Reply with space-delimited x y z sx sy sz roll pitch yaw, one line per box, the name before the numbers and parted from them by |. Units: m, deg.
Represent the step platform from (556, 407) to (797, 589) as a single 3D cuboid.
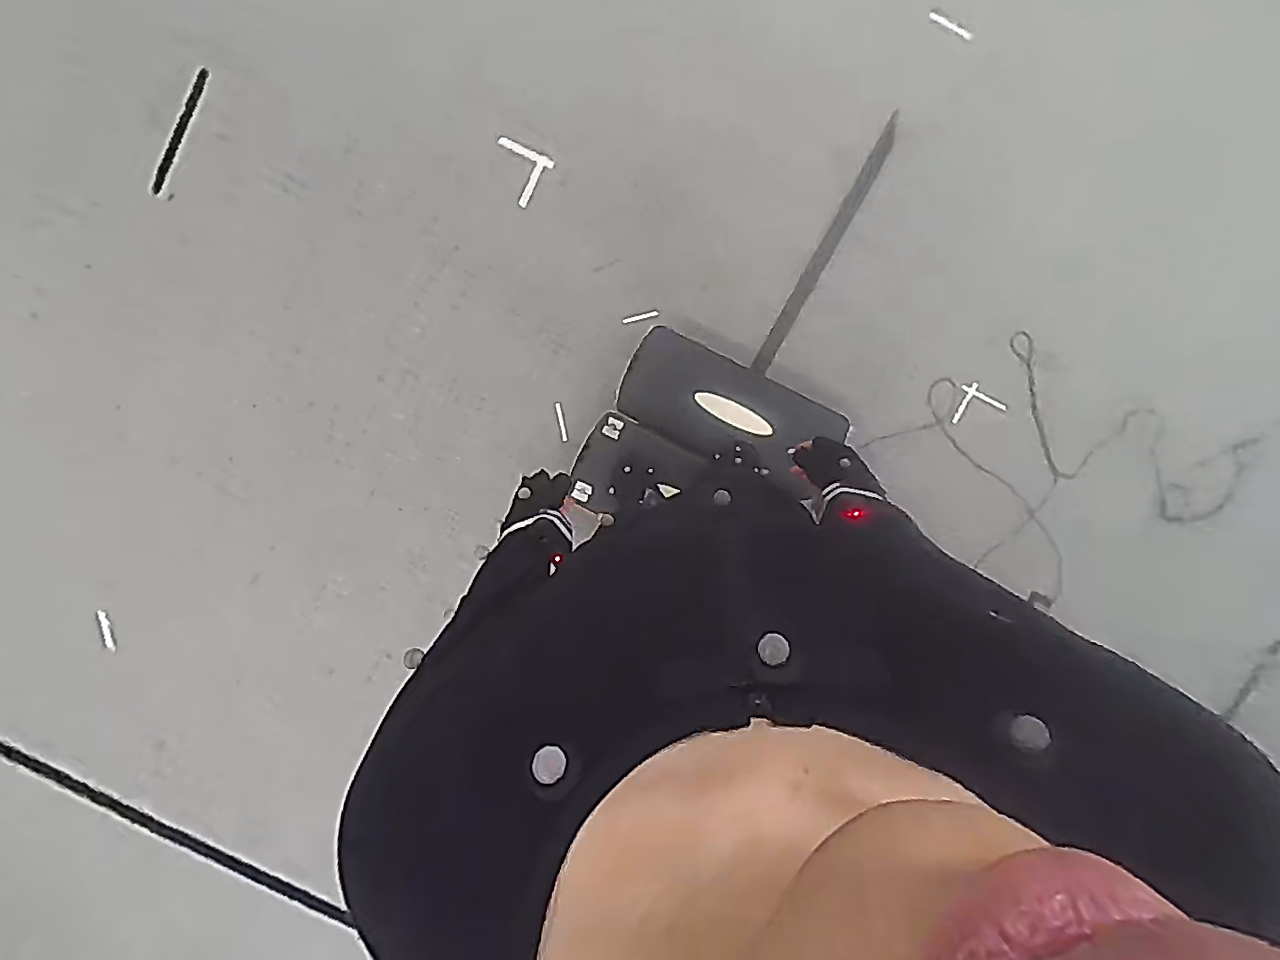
step platform | 0.103 0.051 1.580 0.684 0.204 0.286 26 94 -1
